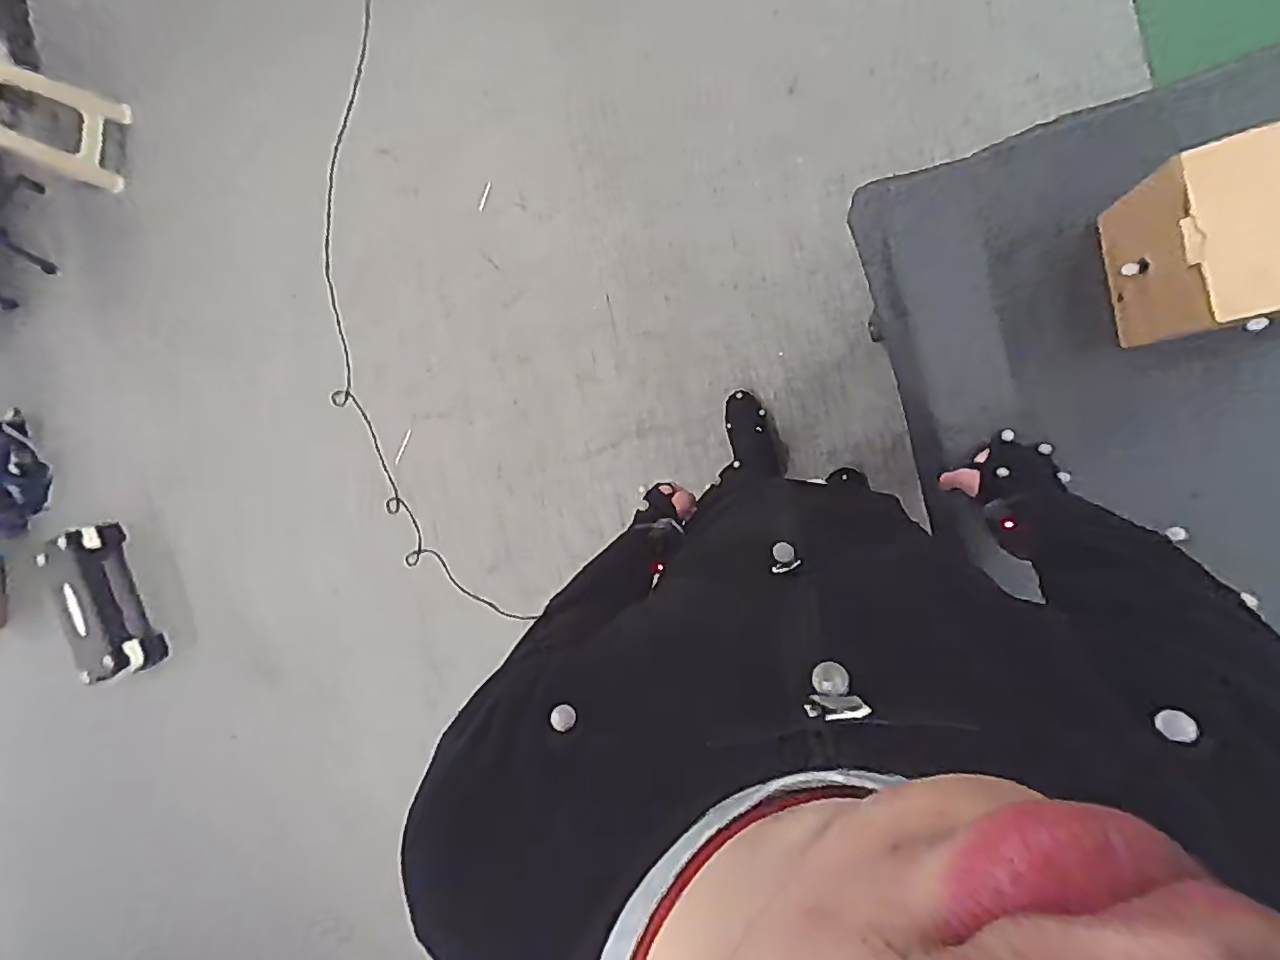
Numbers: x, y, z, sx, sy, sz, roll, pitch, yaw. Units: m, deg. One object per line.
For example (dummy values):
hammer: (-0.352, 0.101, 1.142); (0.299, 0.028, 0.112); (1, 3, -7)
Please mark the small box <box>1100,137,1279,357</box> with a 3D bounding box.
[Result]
small box: (0.620, -0.235, 0.561); (0.179, 0.176, 0.168); (-11, 91, 20)
